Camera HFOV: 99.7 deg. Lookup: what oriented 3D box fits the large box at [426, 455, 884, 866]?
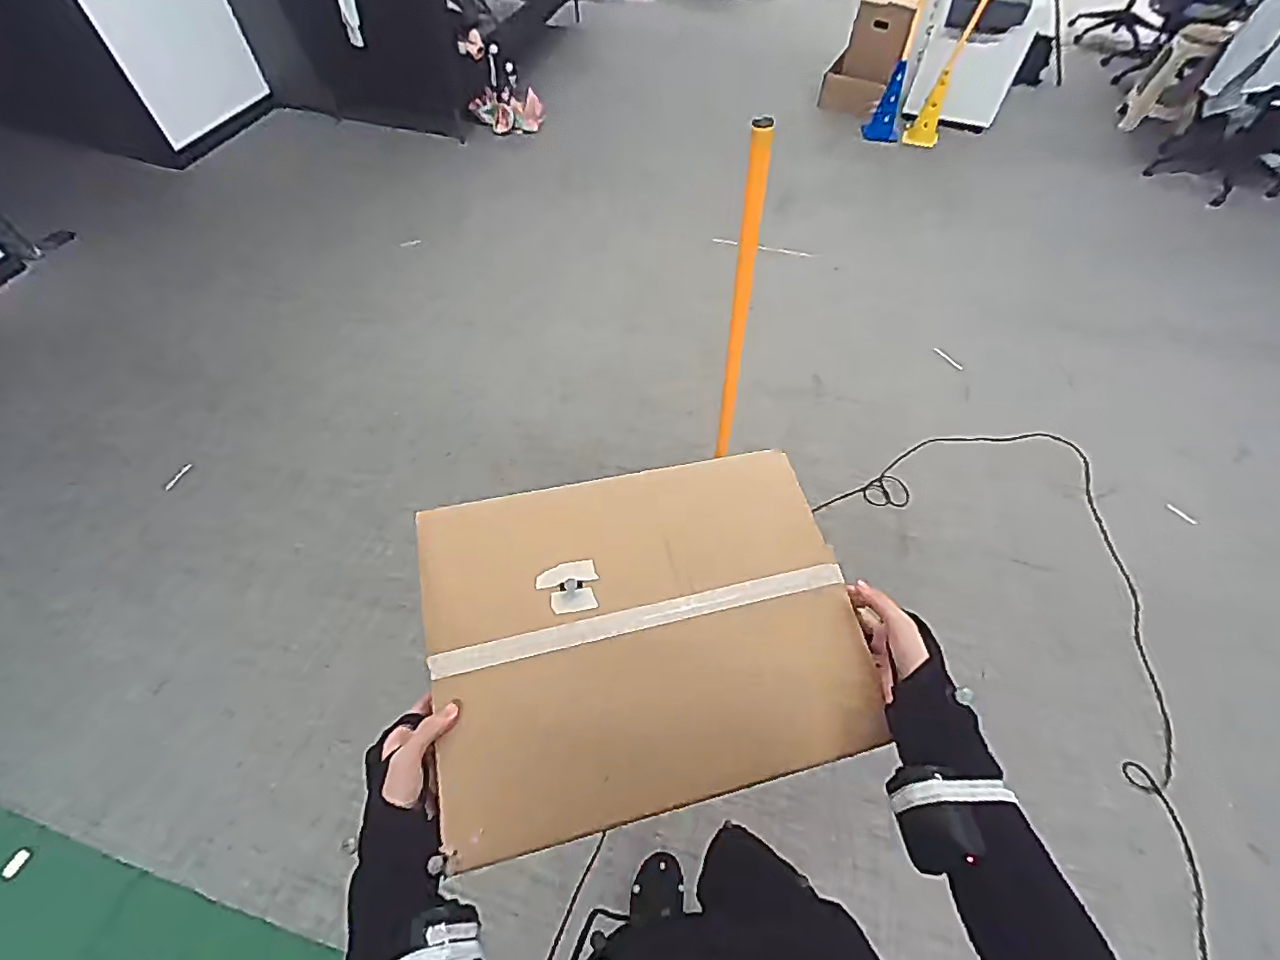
[{"bbox_3d":[-0.005,0.205,0.668,0.408,0.320,0.320,-11,65,-10],"label":"large box"}]
